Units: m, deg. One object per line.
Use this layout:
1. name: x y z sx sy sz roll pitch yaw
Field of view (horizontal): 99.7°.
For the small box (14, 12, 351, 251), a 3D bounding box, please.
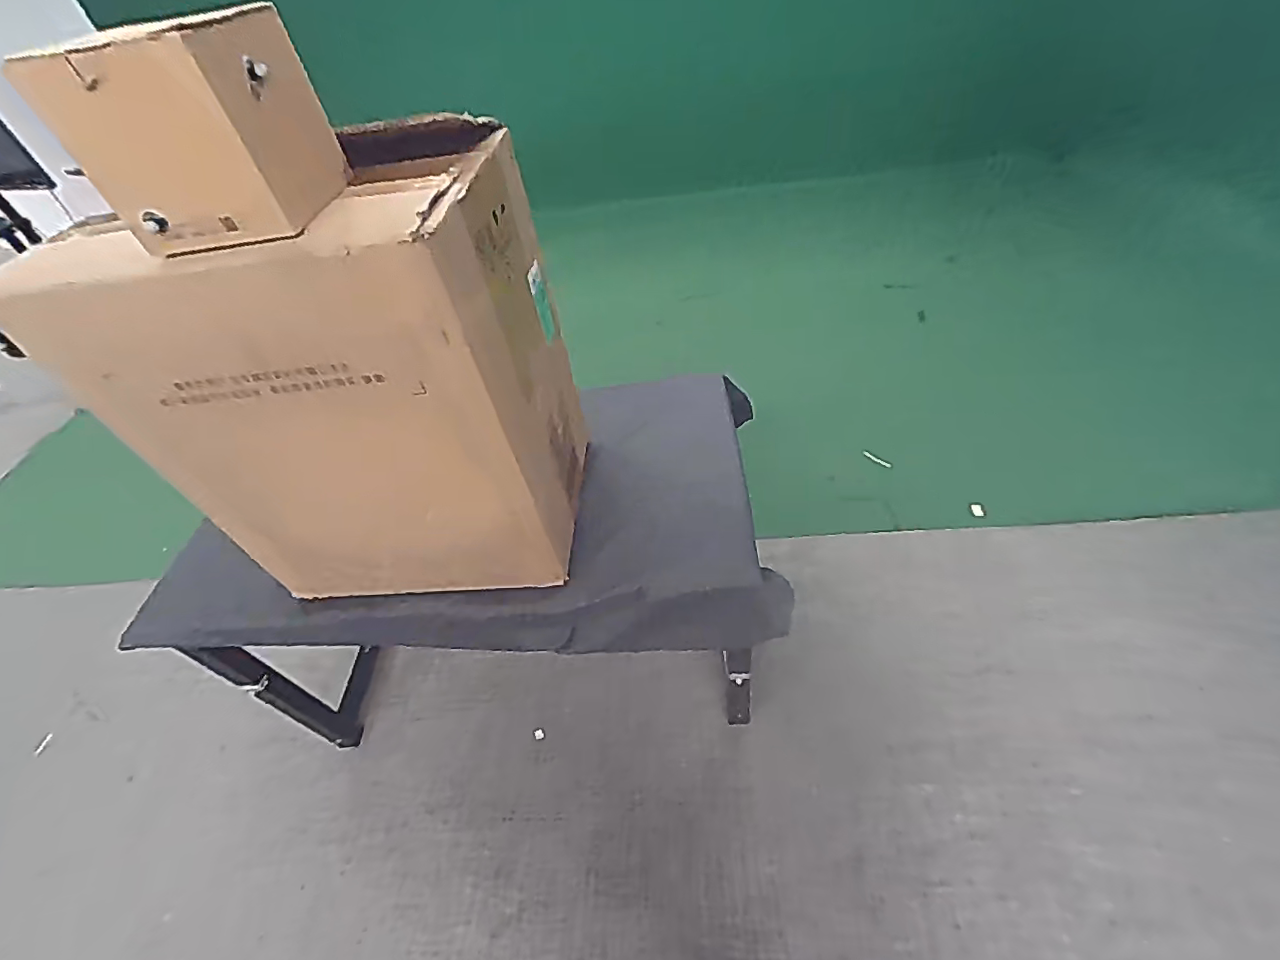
1. small box: -0.440 -0.353 0.564 0.168 0.176 0.179 -6 46 5
